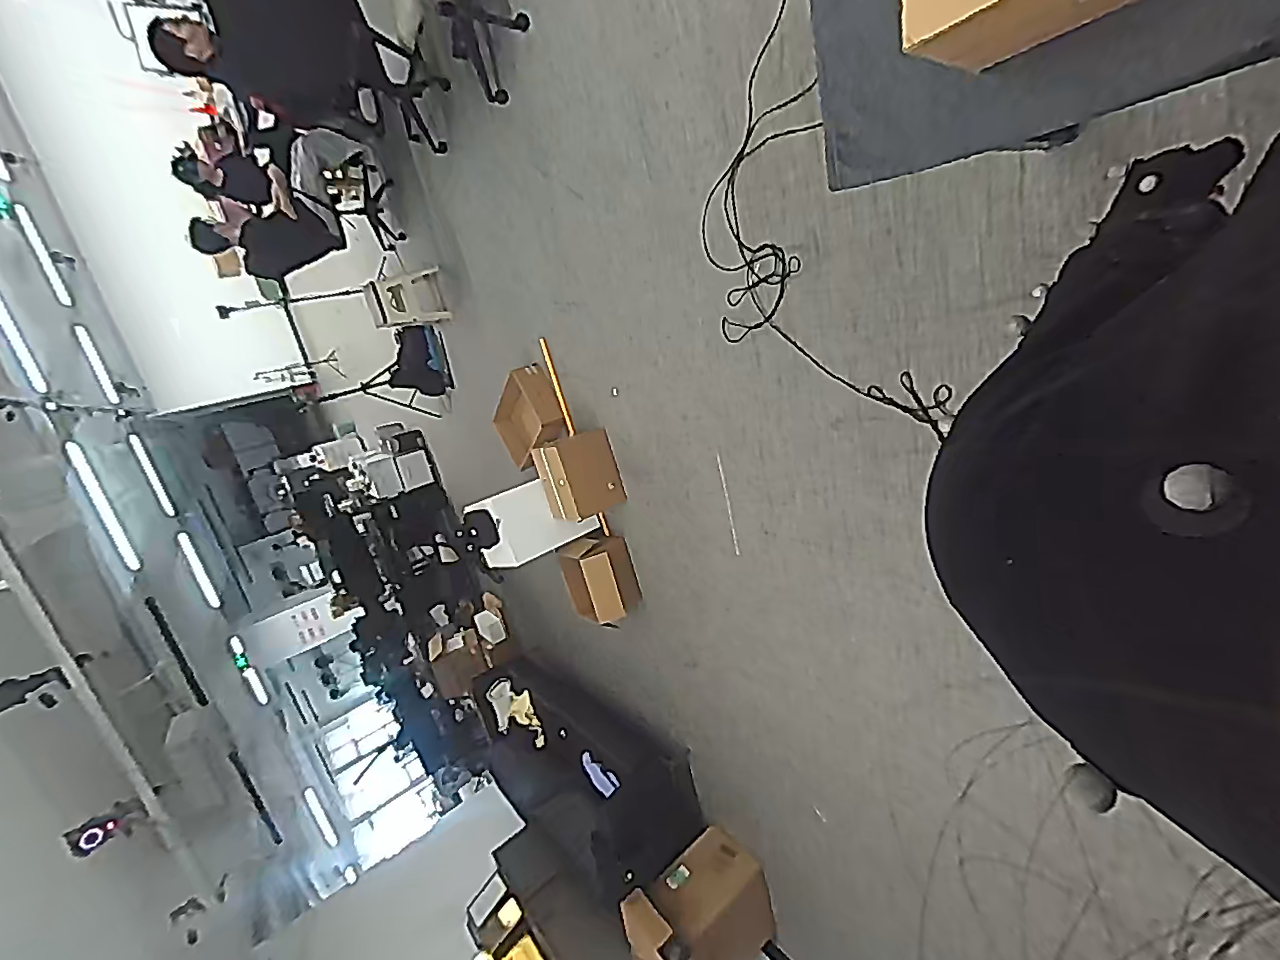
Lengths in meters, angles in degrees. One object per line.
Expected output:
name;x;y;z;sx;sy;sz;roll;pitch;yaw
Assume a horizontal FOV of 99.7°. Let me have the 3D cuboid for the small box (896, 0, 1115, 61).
small box;0.341;-0.498;0.462;0.179;0.176;0.168;9;116;52
